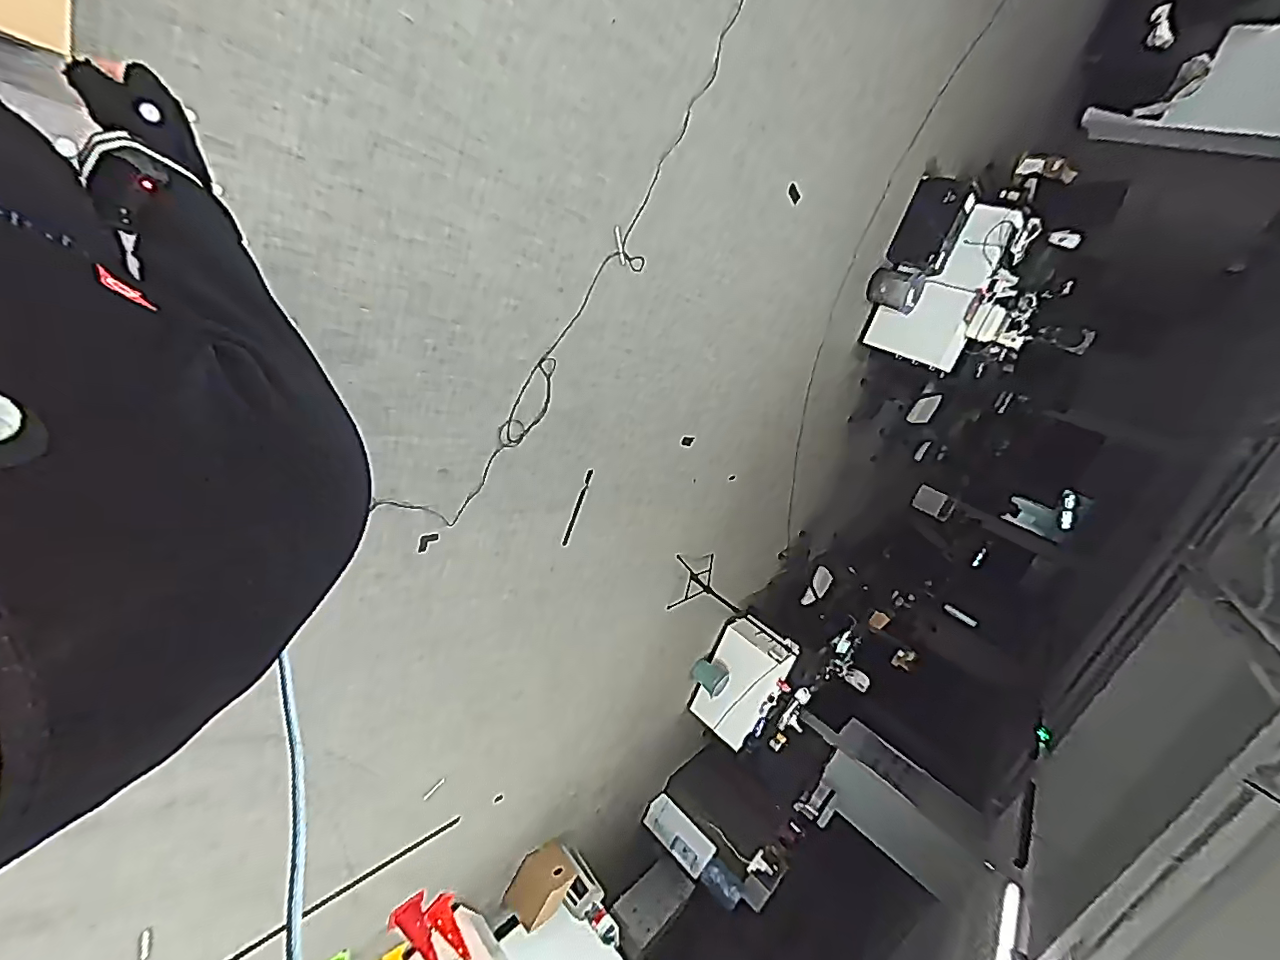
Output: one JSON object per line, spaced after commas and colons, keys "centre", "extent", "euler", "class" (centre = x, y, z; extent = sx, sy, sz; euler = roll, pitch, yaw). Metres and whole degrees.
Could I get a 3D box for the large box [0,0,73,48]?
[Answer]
{"centre": [-0.944, -0.762, 0.597], "extent": [0.408, 0.320, 0.320], "euler": [-6, 122, -52], "class": "large box"}
